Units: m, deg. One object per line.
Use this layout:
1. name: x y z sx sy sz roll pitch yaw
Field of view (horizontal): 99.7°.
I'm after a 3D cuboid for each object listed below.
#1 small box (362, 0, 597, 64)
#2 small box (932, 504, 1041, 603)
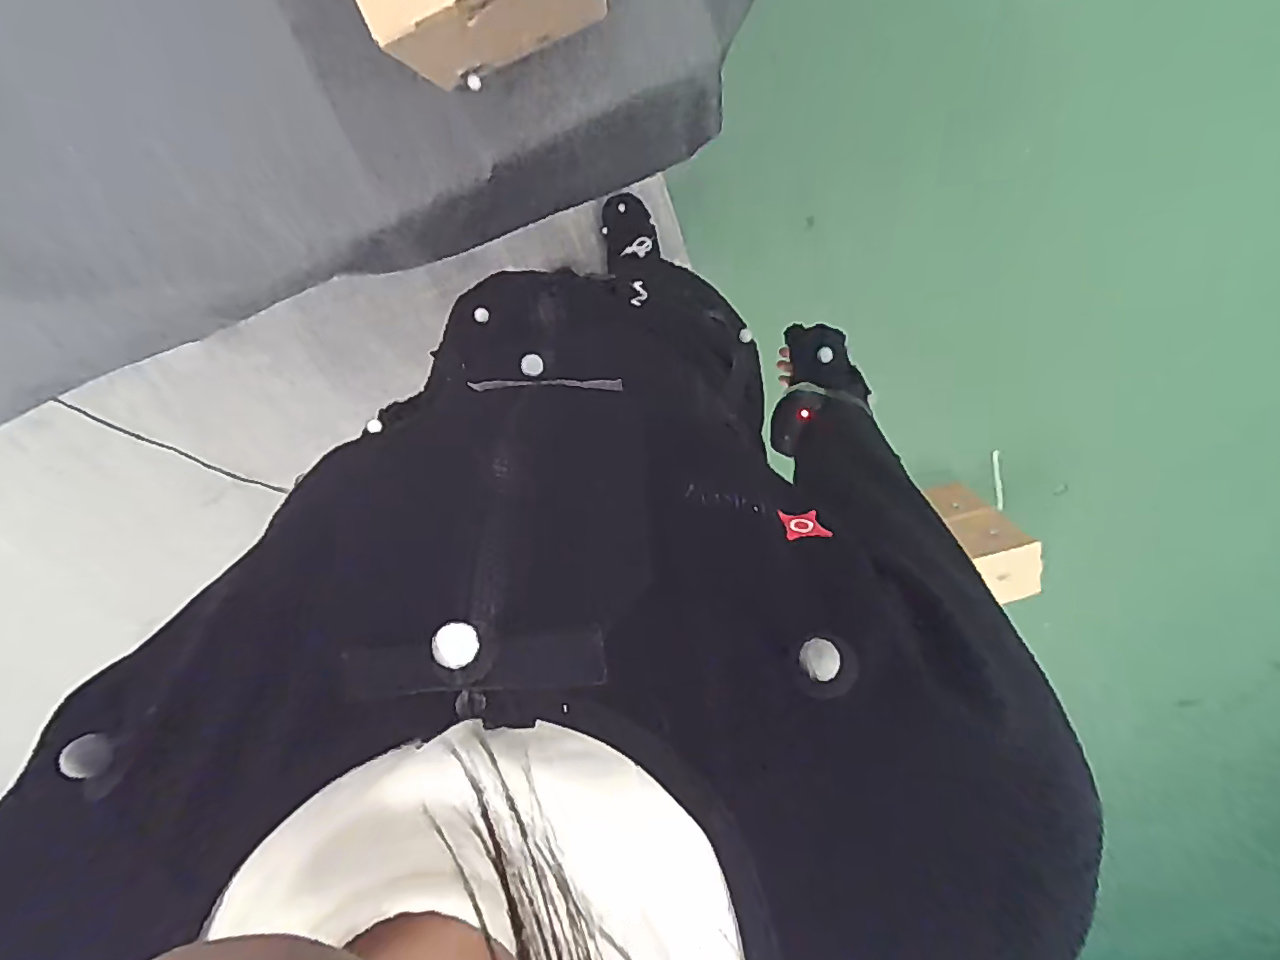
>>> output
1. small box: -0.134 -0.437 0.389 0.168 0.176 0.179 -19 115 8
2. small box: 0.891 0.184 1.400 0.179 0.176 0.168 -18 116 5
